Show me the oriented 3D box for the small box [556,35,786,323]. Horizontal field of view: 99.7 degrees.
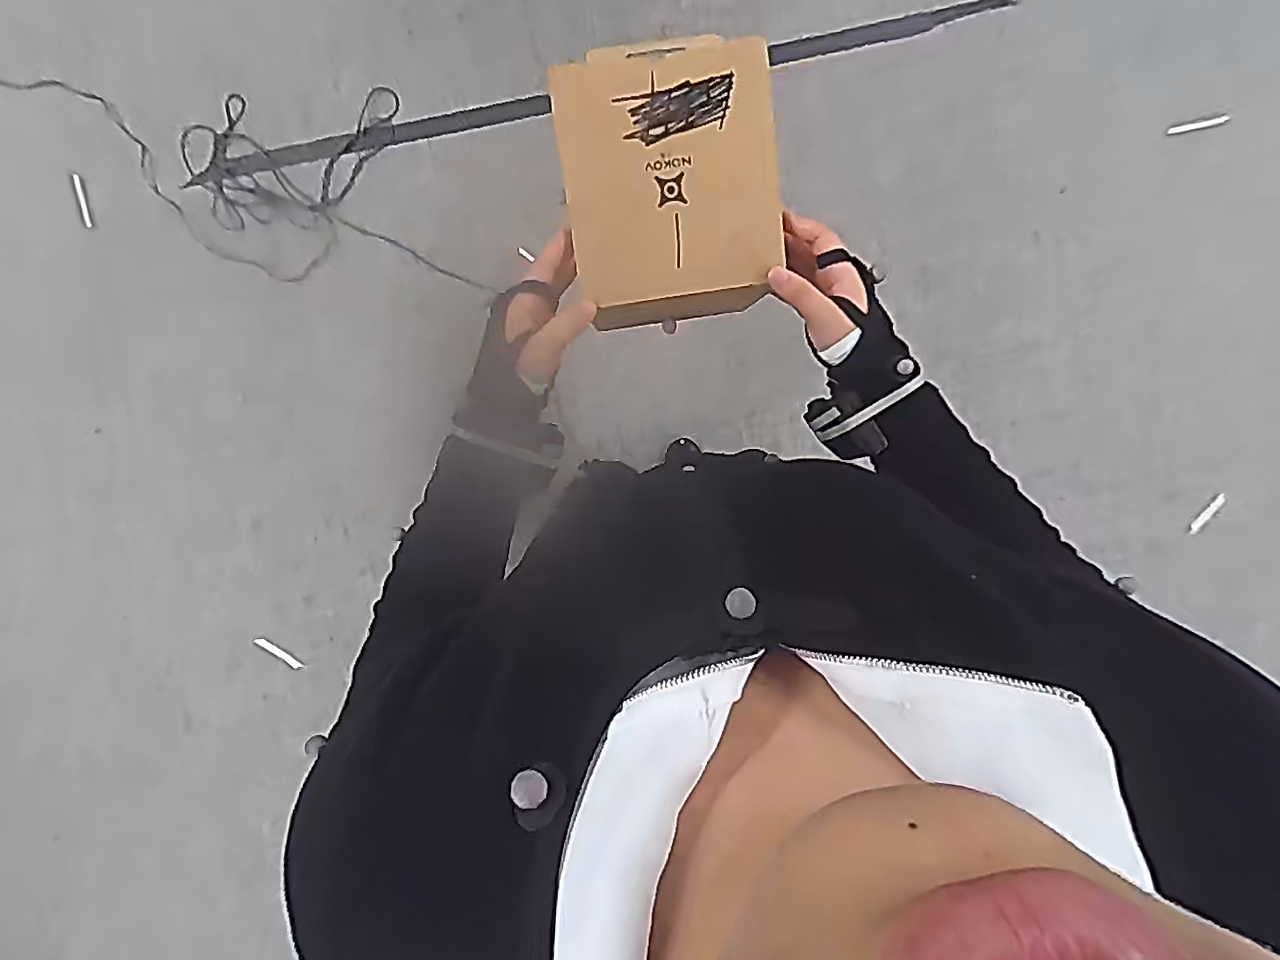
[{"bbox_3d":[0.024,-0.253,0.498,0.168,0.176,0.179,-8,100,1],"label":"small box"}]
